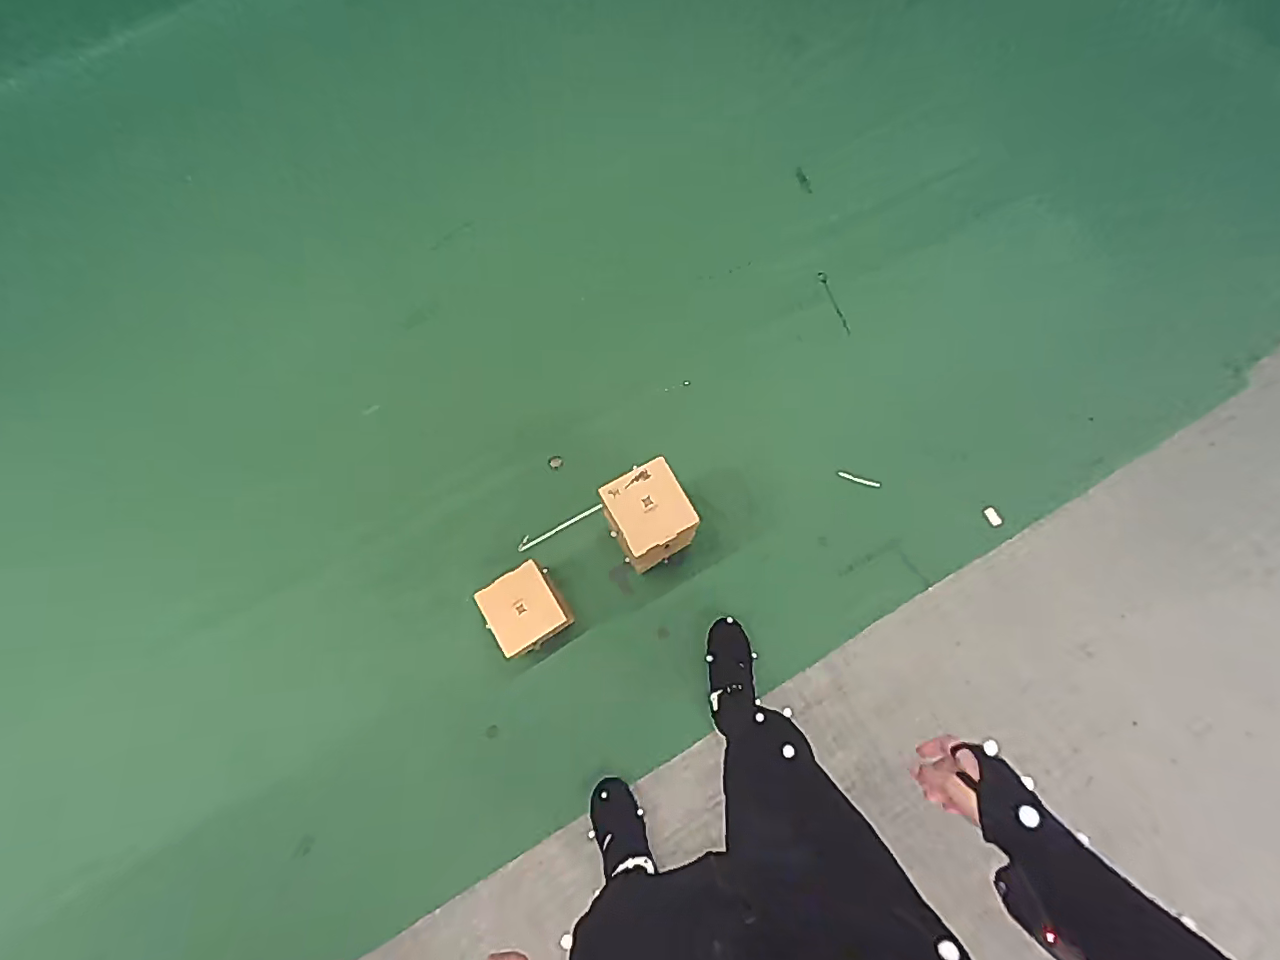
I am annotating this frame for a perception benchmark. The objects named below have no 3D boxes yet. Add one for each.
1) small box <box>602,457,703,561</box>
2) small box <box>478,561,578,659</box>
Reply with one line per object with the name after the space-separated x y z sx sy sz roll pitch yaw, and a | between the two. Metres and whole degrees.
0.027 0.076 1.254 0.168 0.176 0.179 -28 78 -7 | small box
-0.274 0.327 1.362 0.168 0.176 0.179 -32 76 -7 | small box
